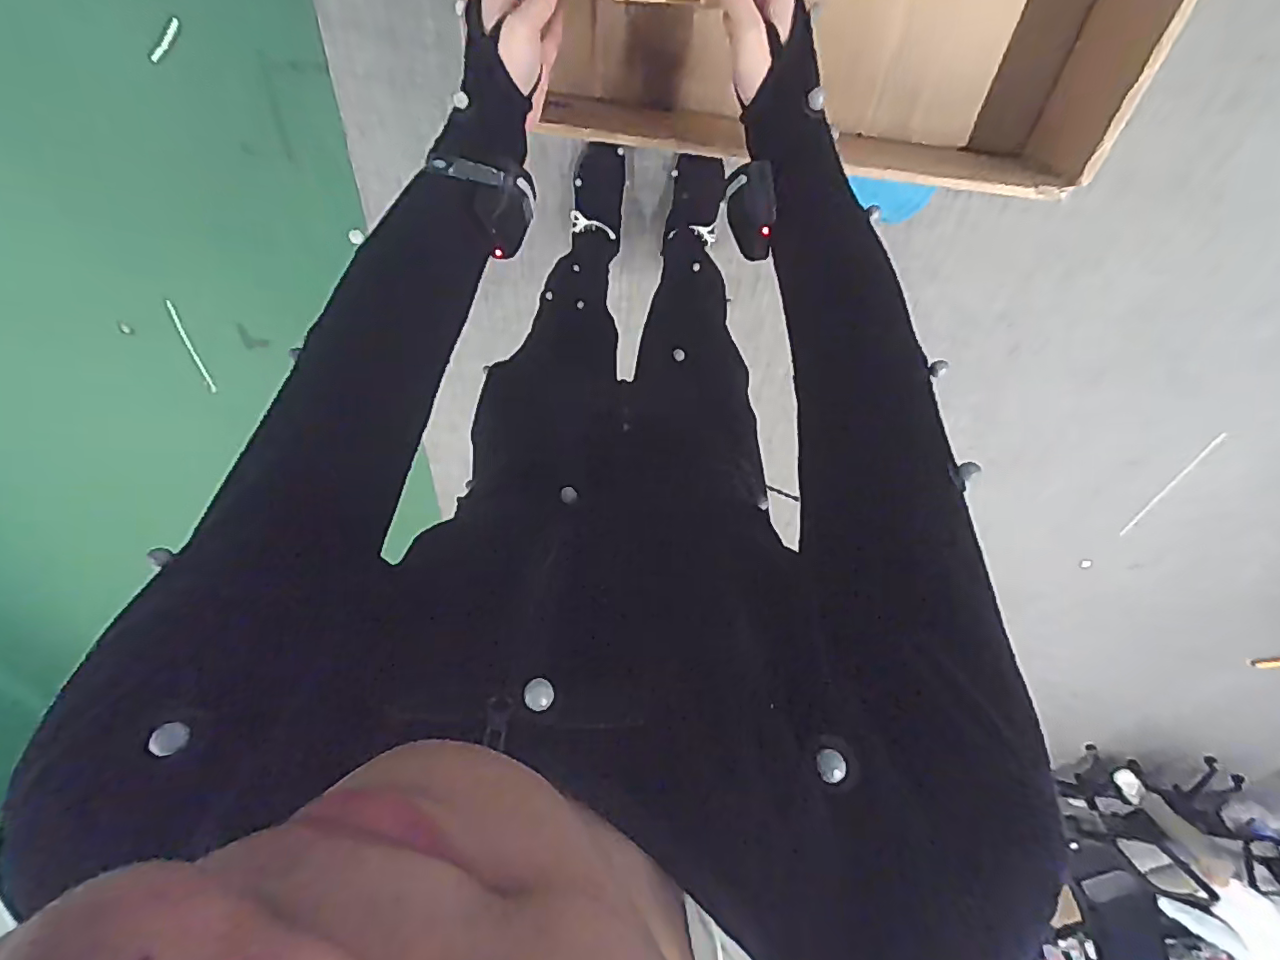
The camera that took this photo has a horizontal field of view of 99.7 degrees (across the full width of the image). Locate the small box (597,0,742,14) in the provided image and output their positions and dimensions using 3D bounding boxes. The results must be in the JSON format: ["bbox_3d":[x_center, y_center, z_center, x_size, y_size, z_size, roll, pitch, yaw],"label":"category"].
[{"bbox_3d":[0.012,-0.511,0.448,0.168,0.176,0.179,4,132,-1],"label":"small box"}]
